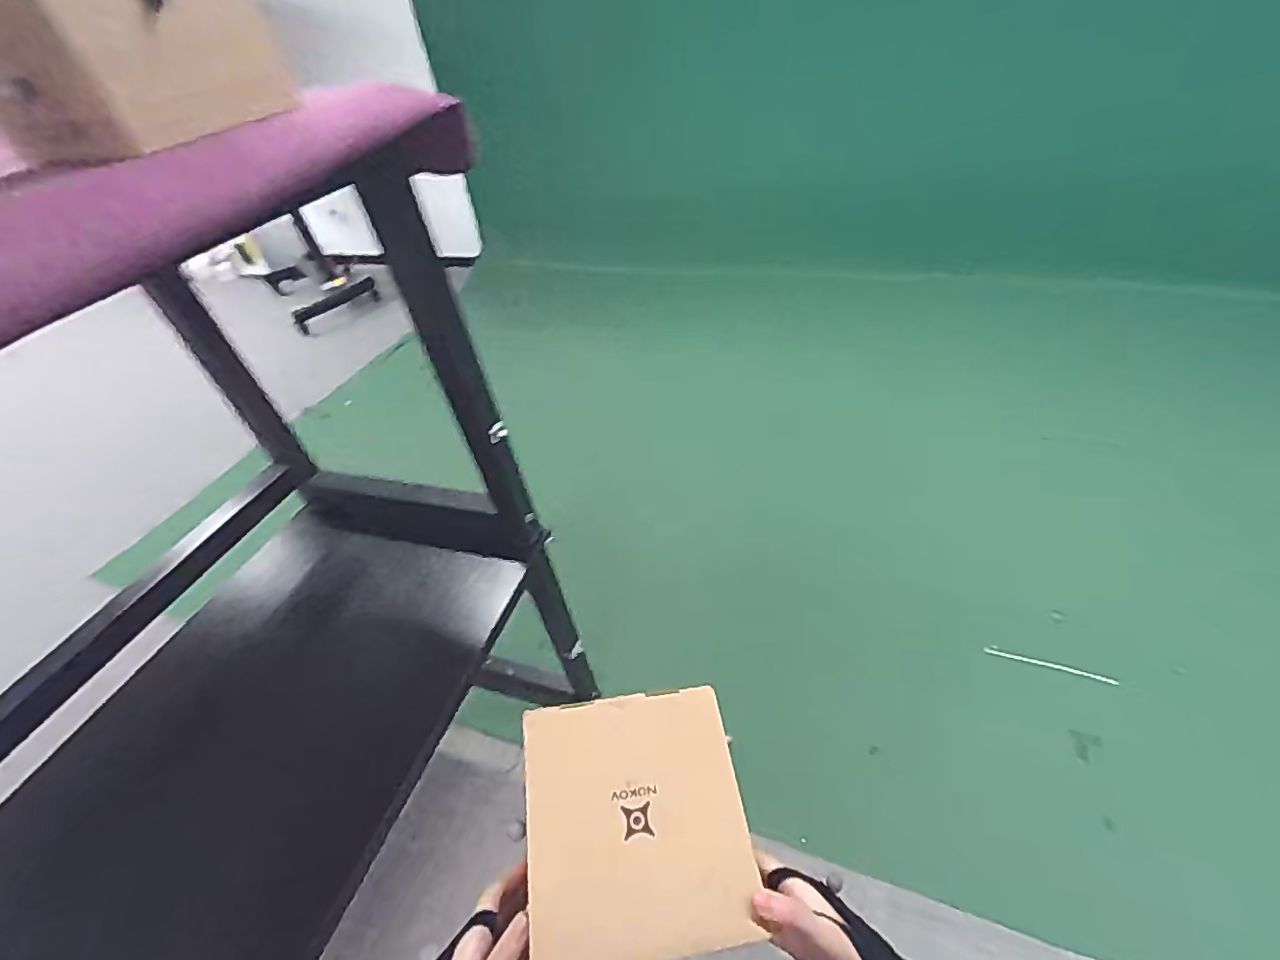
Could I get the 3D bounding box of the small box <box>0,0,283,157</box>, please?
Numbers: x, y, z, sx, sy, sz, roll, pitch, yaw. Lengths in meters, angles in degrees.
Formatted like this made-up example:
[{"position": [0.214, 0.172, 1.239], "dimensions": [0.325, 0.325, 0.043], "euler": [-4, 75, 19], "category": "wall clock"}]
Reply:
[{"position": [-0.445, -0.387, 0.451], "dimensions": [0.168, 0.176, 0.179], "euler": [9, 47, 18], "category": "small box"}]
